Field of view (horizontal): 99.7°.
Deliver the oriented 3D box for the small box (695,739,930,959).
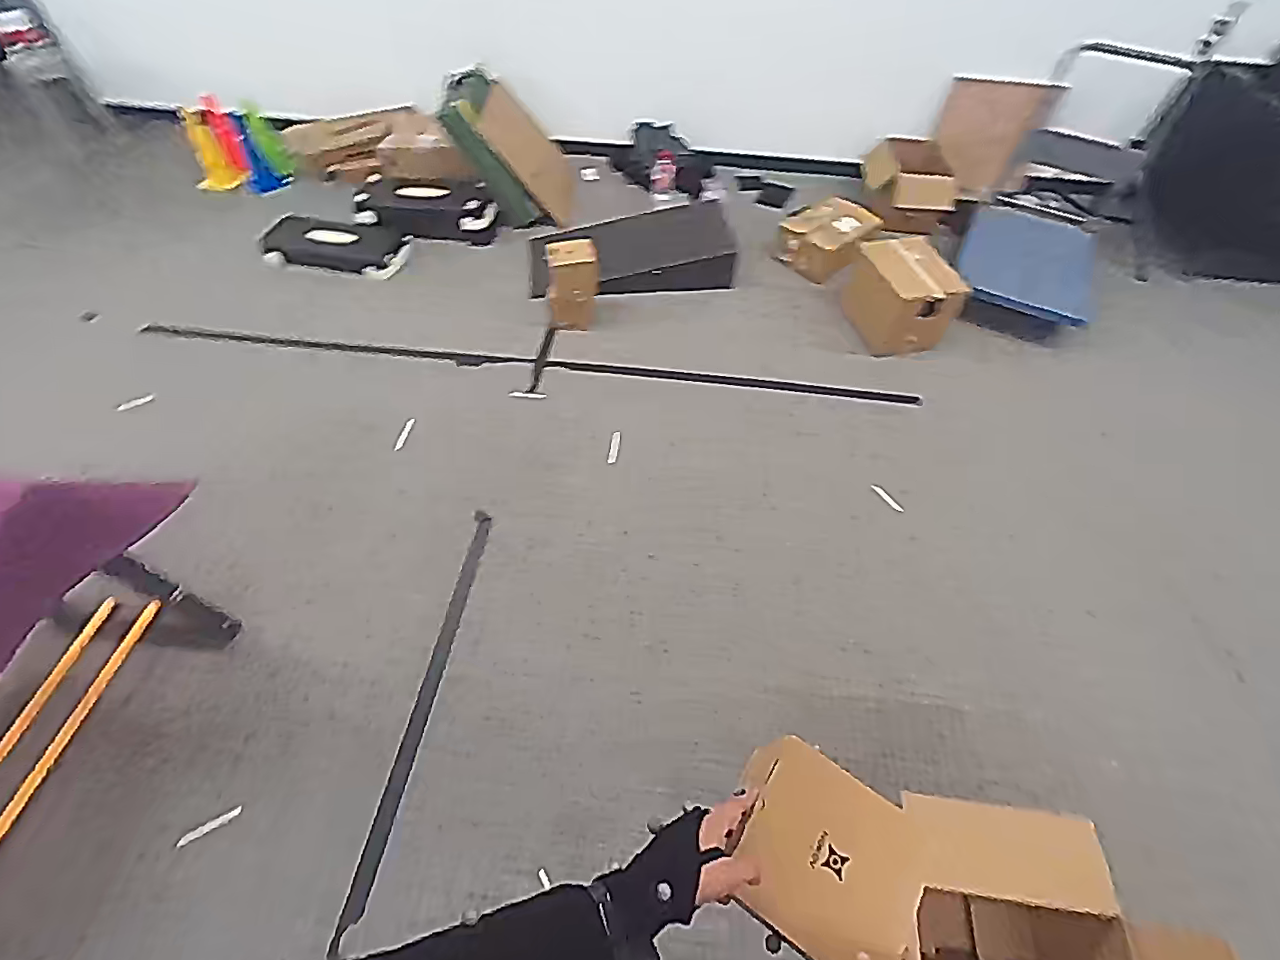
[{"bbox_3d":[0.180,0.423,0.608,0.179,0.176,0.168,30,62,16],"label":"small box"}]
